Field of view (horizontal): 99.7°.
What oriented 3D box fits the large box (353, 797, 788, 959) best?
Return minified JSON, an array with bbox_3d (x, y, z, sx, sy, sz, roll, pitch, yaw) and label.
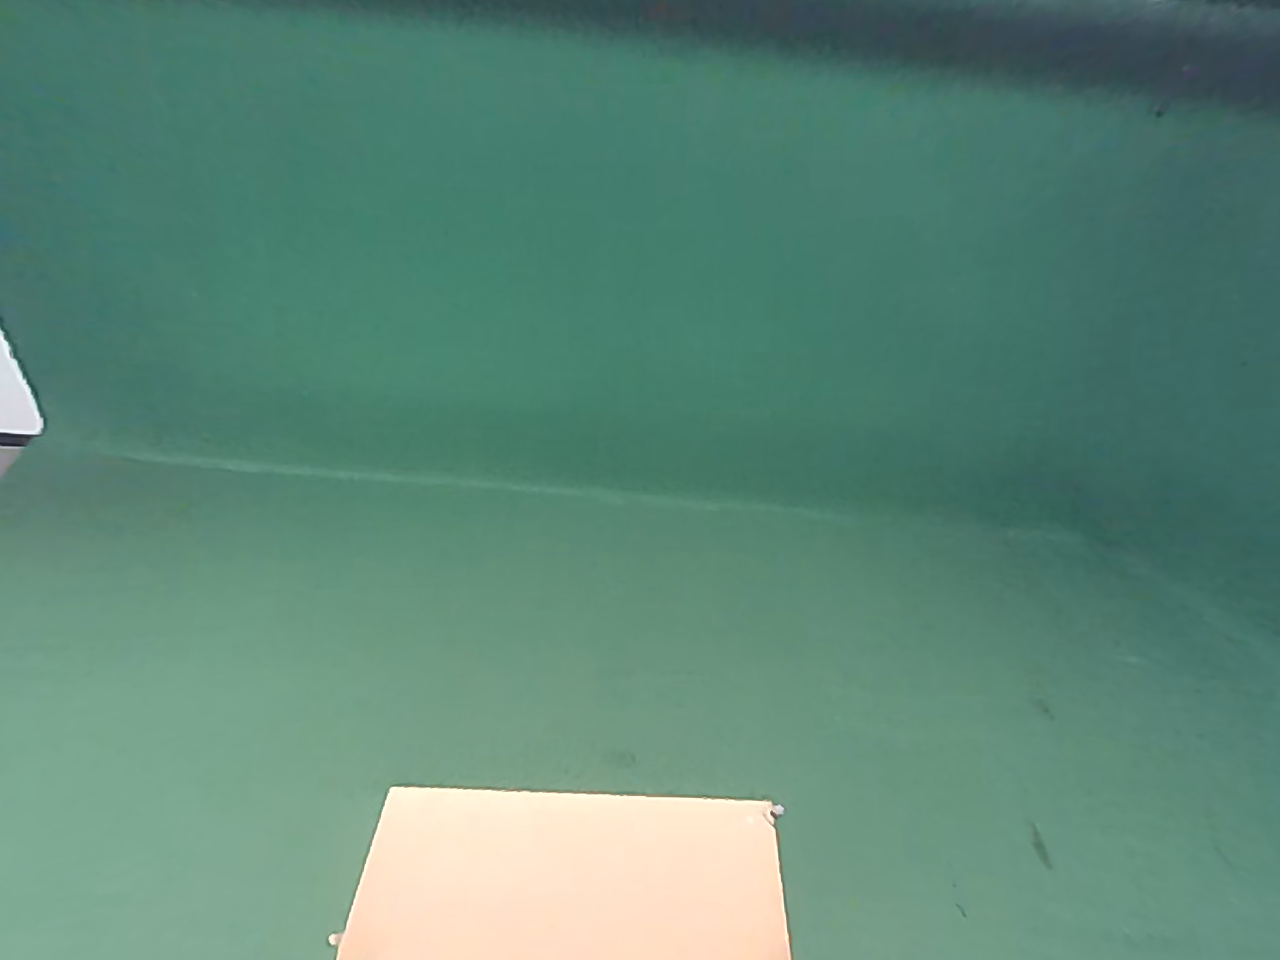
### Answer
[{"bbox_3d":[-0.071,0.558,0.580,0.408,0.320,0.320,3,47,-3],"label":"large box"}]
